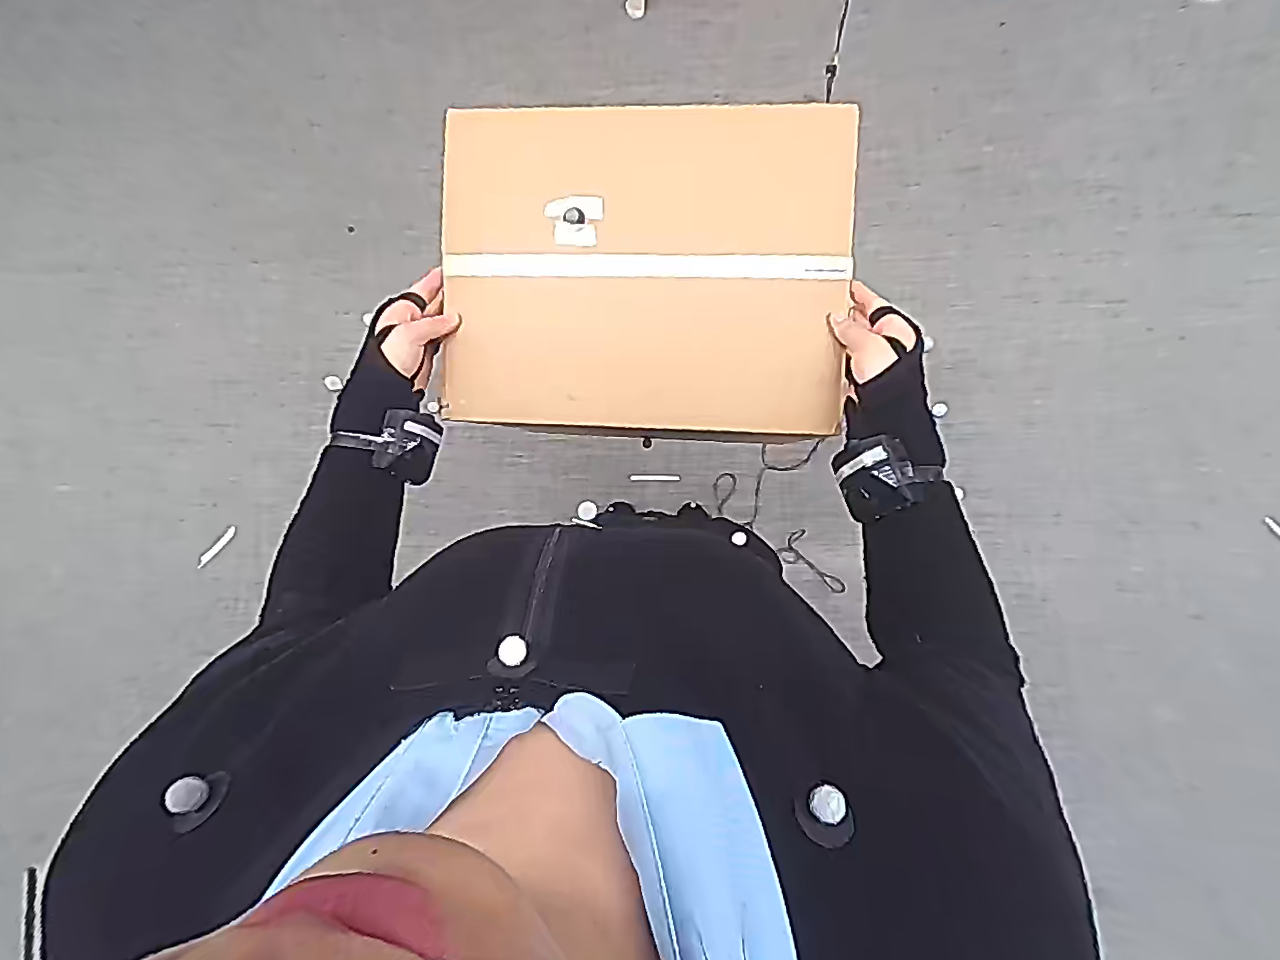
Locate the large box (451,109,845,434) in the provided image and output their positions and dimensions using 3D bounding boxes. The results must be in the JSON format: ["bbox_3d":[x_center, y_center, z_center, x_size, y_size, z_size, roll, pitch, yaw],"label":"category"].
[{"bbox_3d":[0.017,-0.218,0.696,0.408,0.320,0.320,2,92,5],"label":"large box"}]
